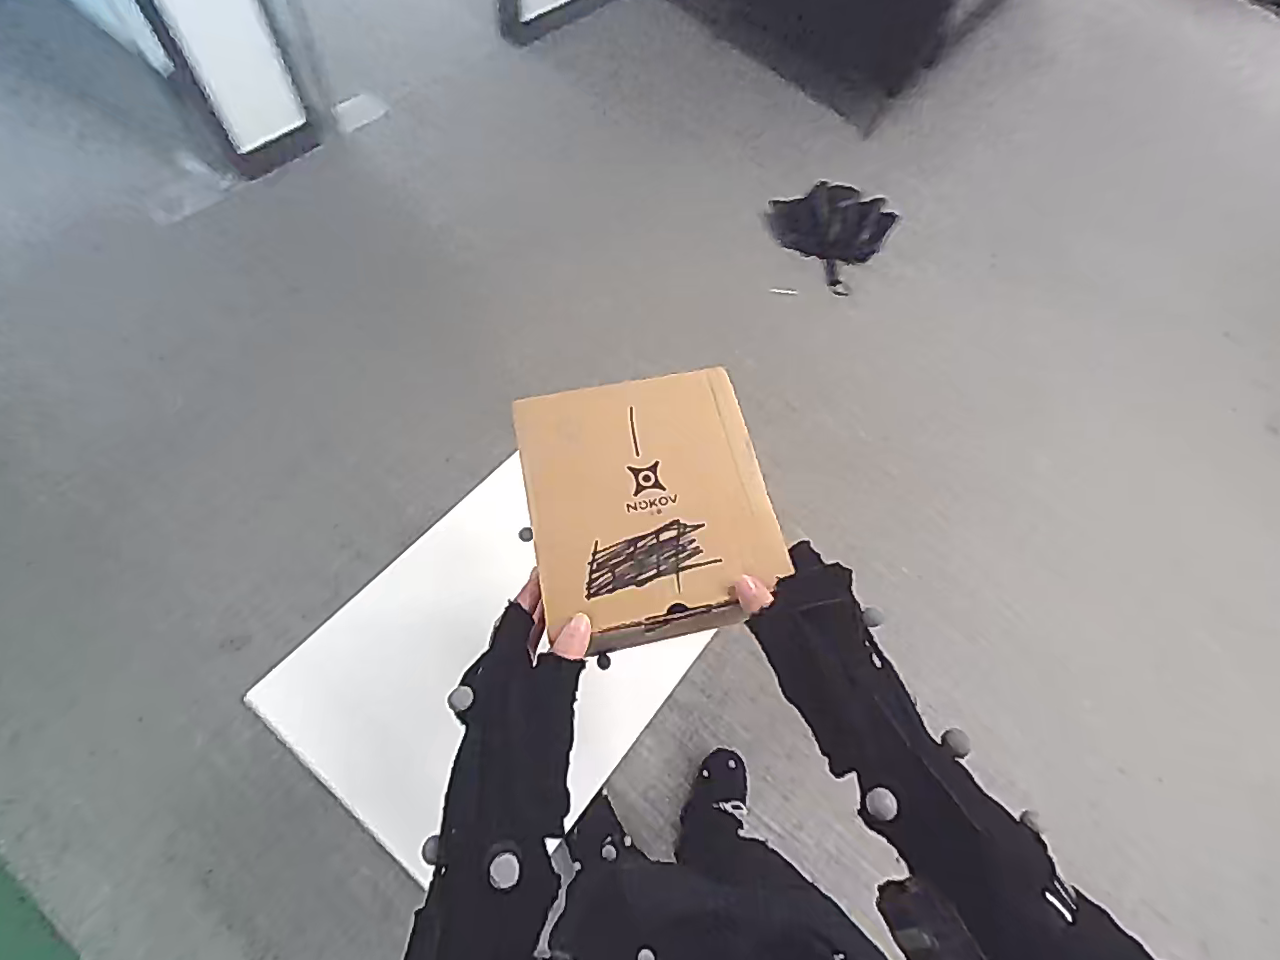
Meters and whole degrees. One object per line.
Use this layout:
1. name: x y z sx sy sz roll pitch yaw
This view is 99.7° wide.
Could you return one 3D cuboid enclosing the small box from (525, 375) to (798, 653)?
1. small box: 0.007 0.041 0.451 0.168 0.176 0.179 -10 68 -7
